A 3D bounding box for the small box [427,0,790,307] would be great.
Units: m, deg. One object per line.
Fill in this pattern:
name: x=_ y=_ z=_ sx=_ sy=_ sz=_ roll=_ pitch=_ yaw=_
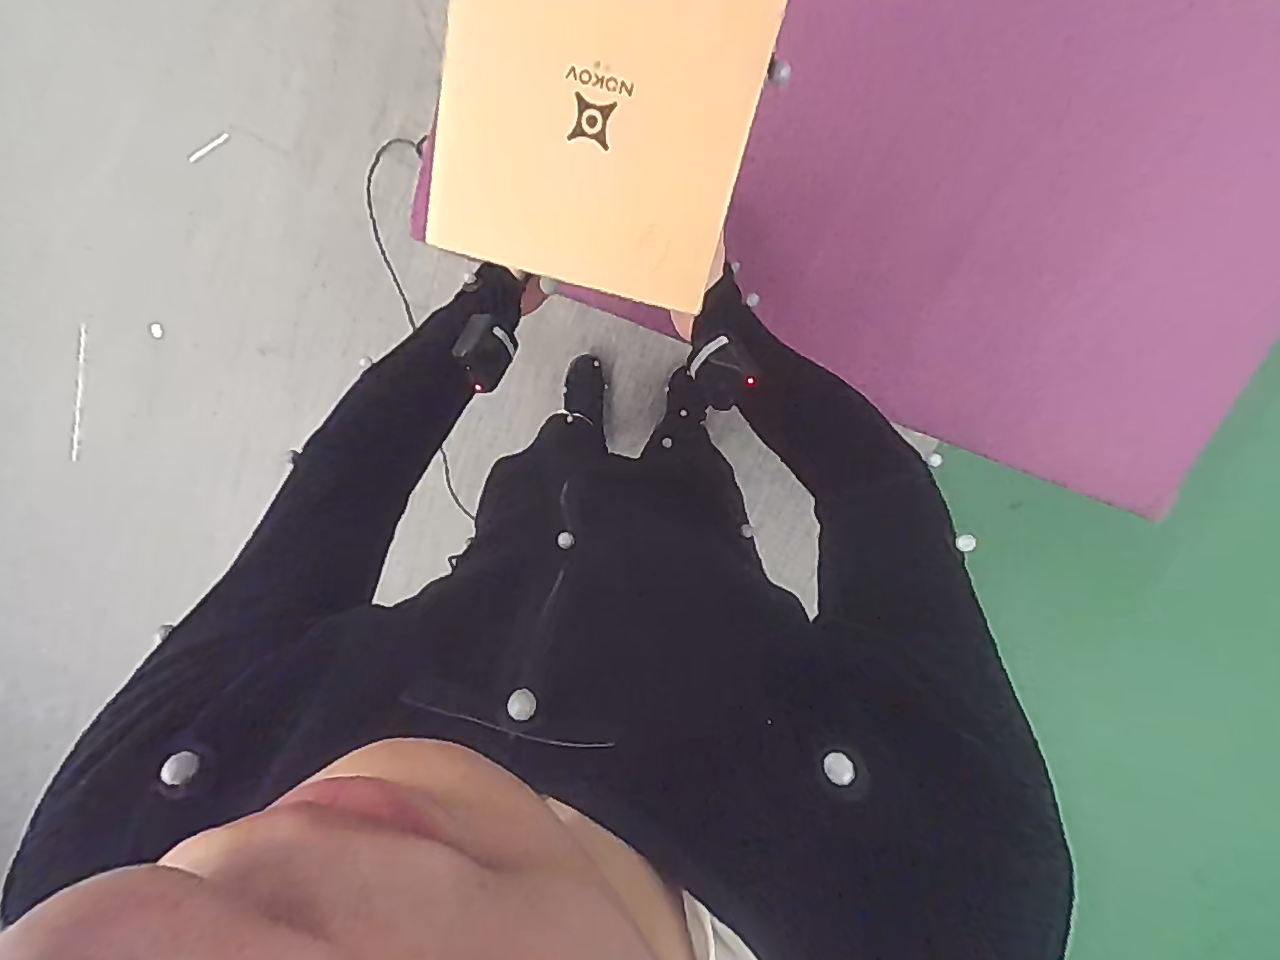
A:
small box: x=-0.016 y=-0.225 z=0.350 sx=0.168 sy=0.176 sz=0.179 roll=14 pitch=111 yaw=-2
